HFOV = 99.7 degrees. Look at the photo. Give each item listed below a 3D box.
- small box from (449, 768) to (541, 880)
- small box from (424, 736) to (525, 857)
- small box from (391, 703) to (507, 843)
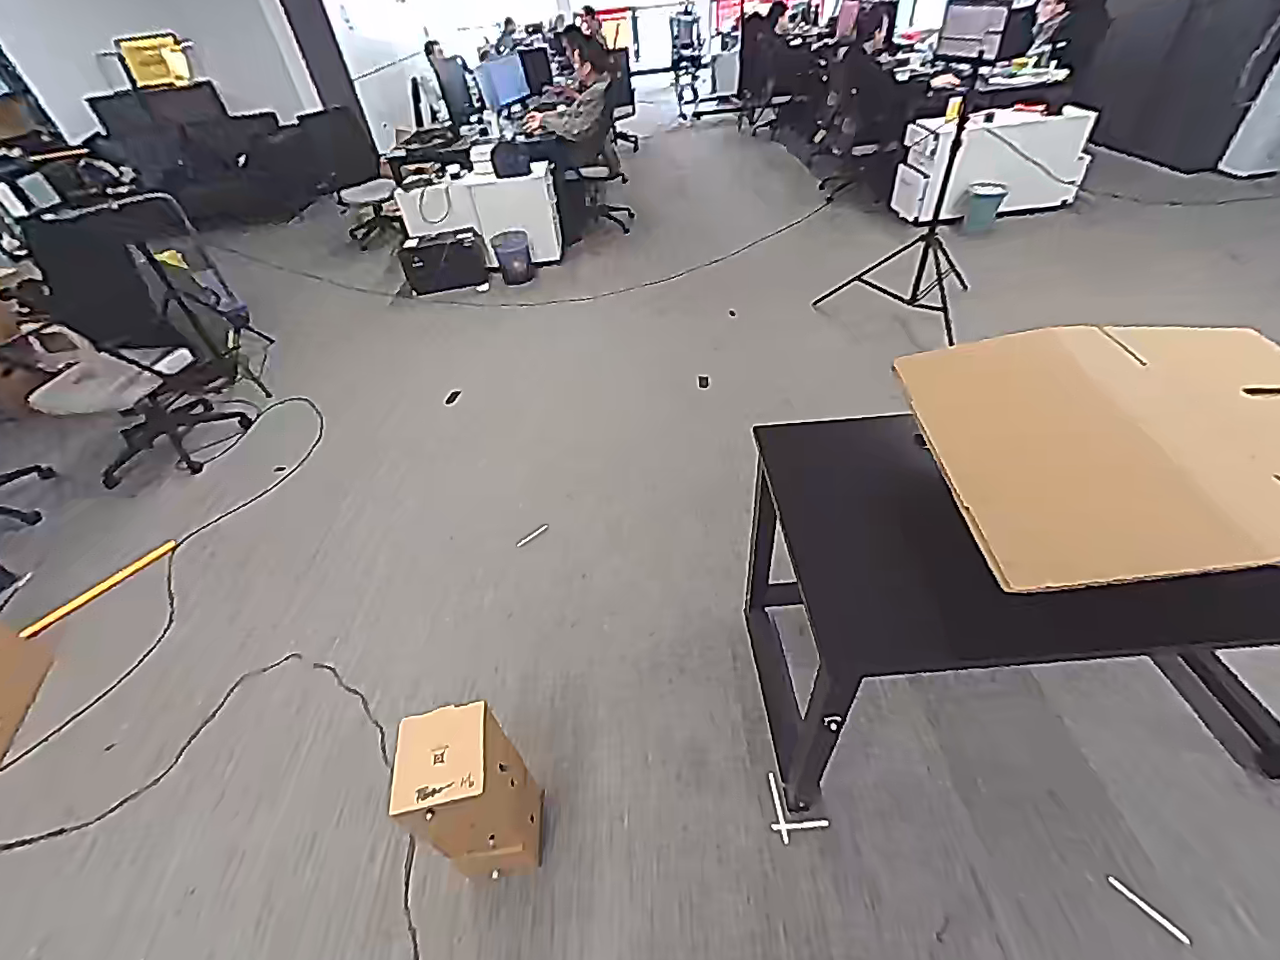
[{"bbox_3d":[-0.332,0.812,1.275,0.168,0.176,0.179,-8,43,-1],"label":"small box"},{"bbox_3d":[-0.349,0.689,1.170,0.168,0.176,0.179,-10,41,-4],"label":"small box"},{"bbox_3d":[-0.362,0.571,1.056,0.168,0.176,0.179,-11,42,-5],"label":"small box"}]
